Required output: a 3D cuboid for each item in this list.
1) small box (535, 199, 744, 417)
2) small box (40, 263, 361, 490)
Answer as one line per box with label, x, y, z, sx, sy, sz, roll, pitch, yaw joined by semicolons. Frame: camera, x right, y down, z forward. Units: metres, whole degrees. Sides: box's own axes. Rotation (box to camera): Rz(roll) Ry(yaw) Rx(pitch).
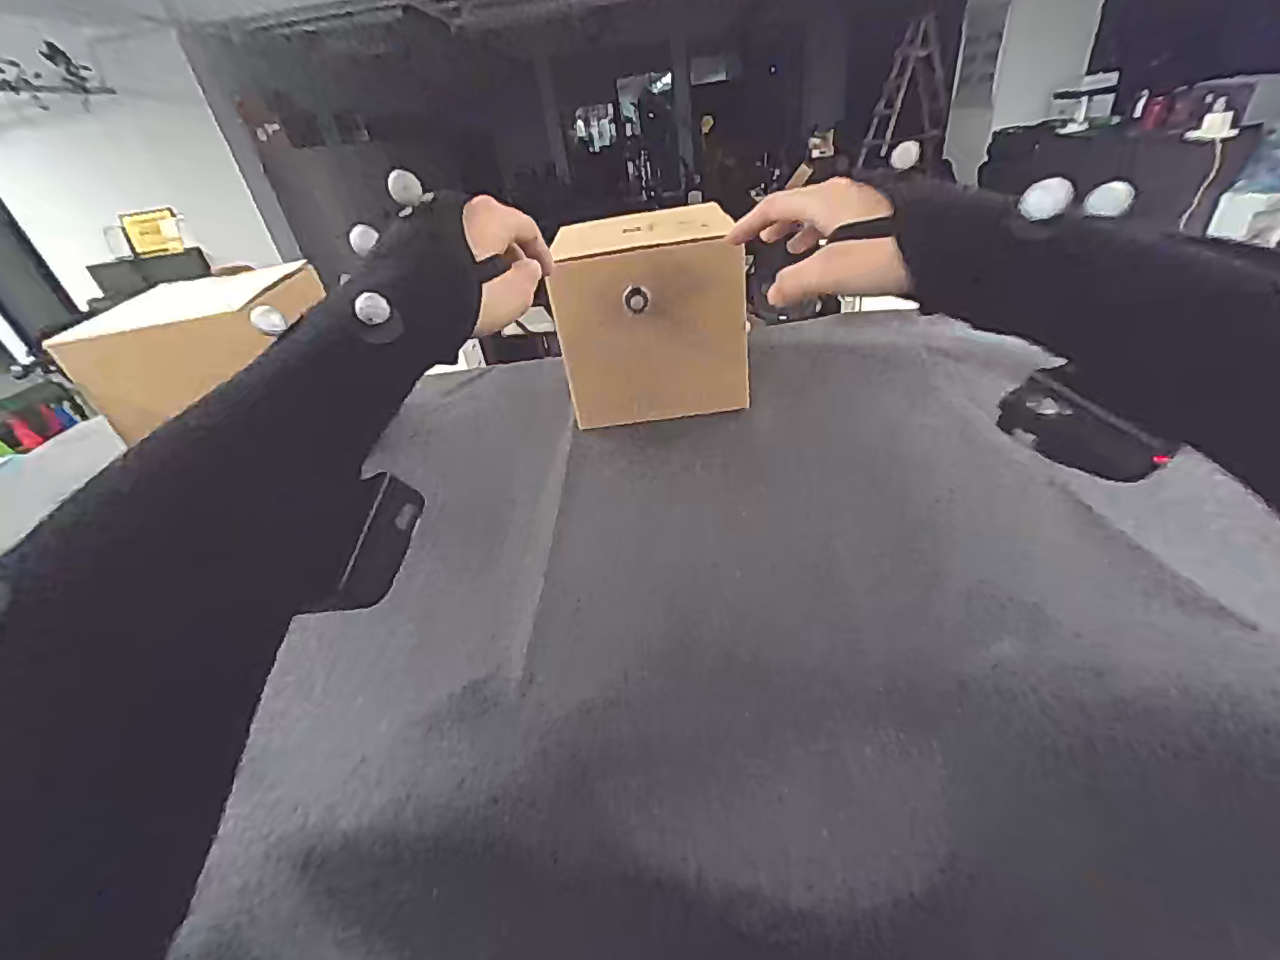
small box;0.006;-0.177;0.561;0.179;0.176;0.168;-7;34;3
small box;-0.422;-0.113;0.566;0.168;0.176;0.179;-11;34;-2
